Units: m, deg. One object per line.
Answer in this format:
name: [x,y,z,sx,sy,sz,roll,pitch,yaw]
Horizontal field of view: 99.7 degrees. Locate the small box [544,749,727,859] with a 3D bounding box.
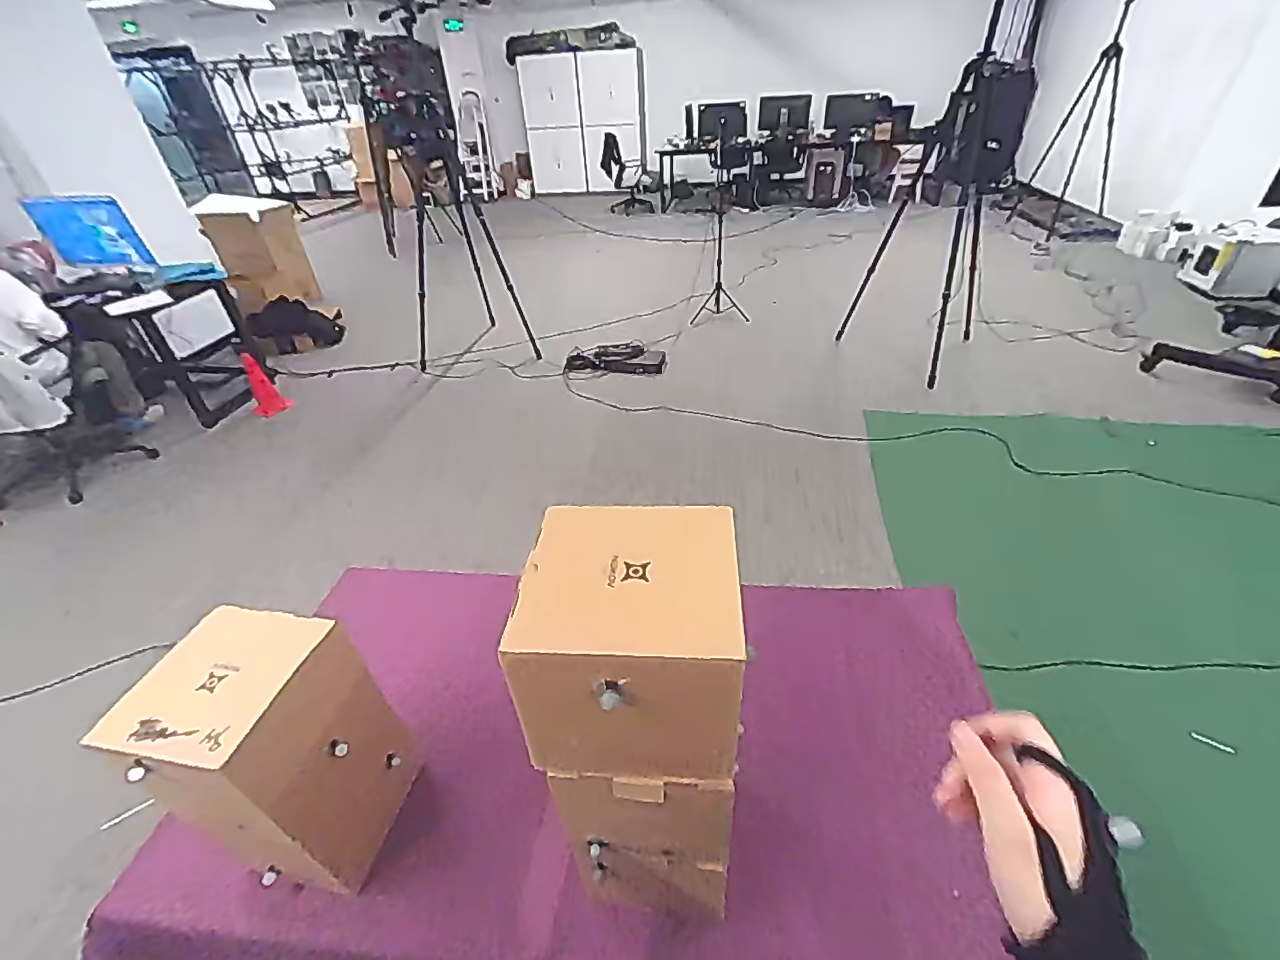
small box: [0.009,0.273,0.579,0.168,0.176,0.179,1,35,7]

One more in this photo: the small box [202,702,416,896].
small box: [-0.426,0.411,0.722,0.168,0.176,0.179,3,38,12]

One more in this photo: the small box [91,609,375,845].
small box: [-0.438,0.278,0.624,0.168,0.176,0.179,3,36,12]

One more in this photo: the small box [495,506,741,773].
small box: [-0.005,0.141,0.486,0.179,0.176,0.168,-1,36,7]
